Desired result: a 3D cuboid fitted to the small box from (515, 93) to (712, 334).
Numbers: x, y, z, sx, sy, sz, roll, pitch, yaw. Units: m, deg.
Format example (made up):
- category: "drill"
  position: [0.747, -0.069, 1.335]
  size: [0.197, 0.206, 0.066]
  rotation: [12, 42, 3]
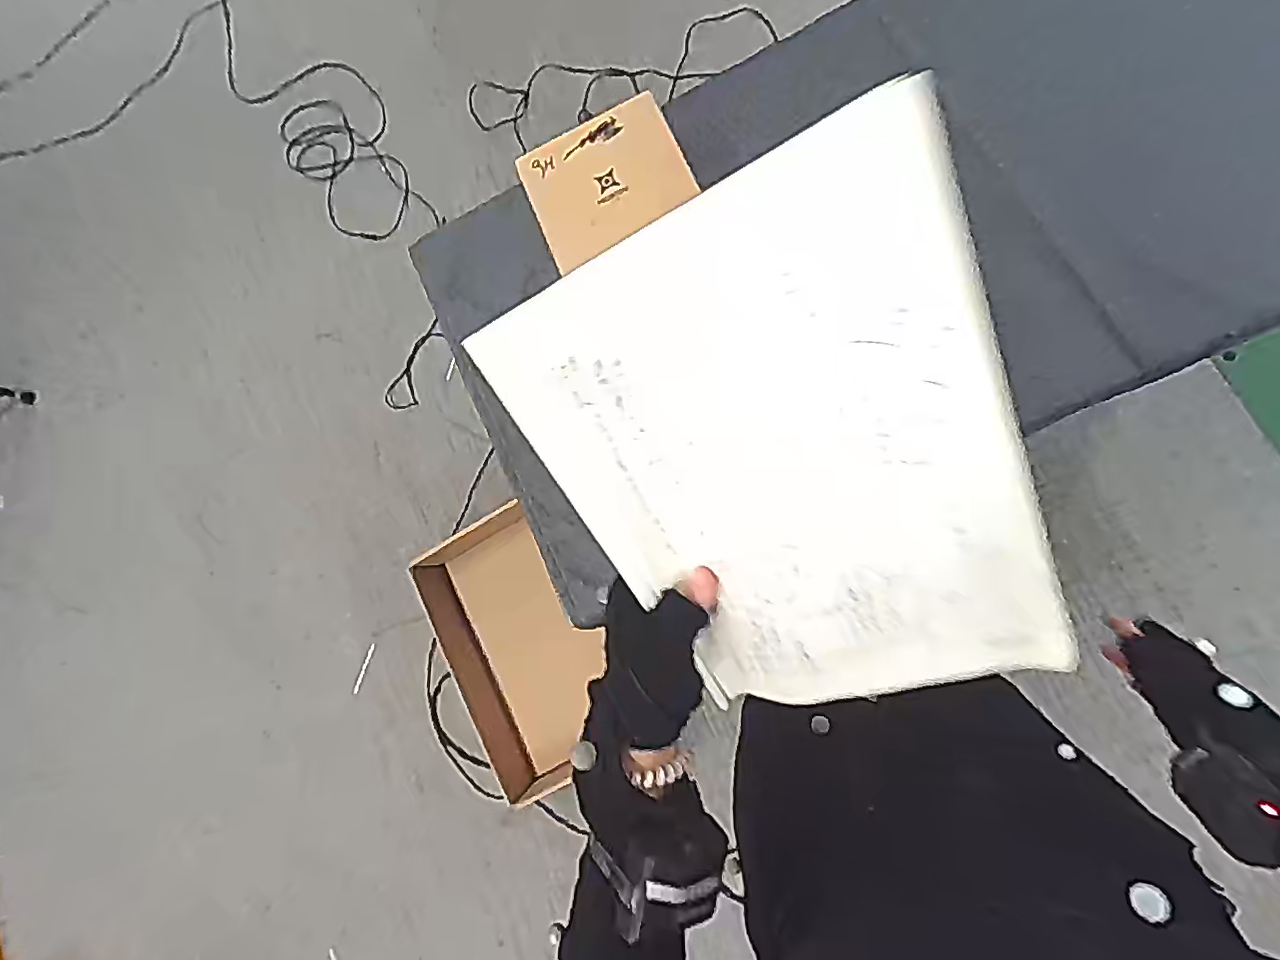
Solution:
- category: "small box"
  position: [-0.019, -0.294, 0.647]
  size: [0.168, 0.176, 0.179]
  rotation: [-24, 79, 6]
